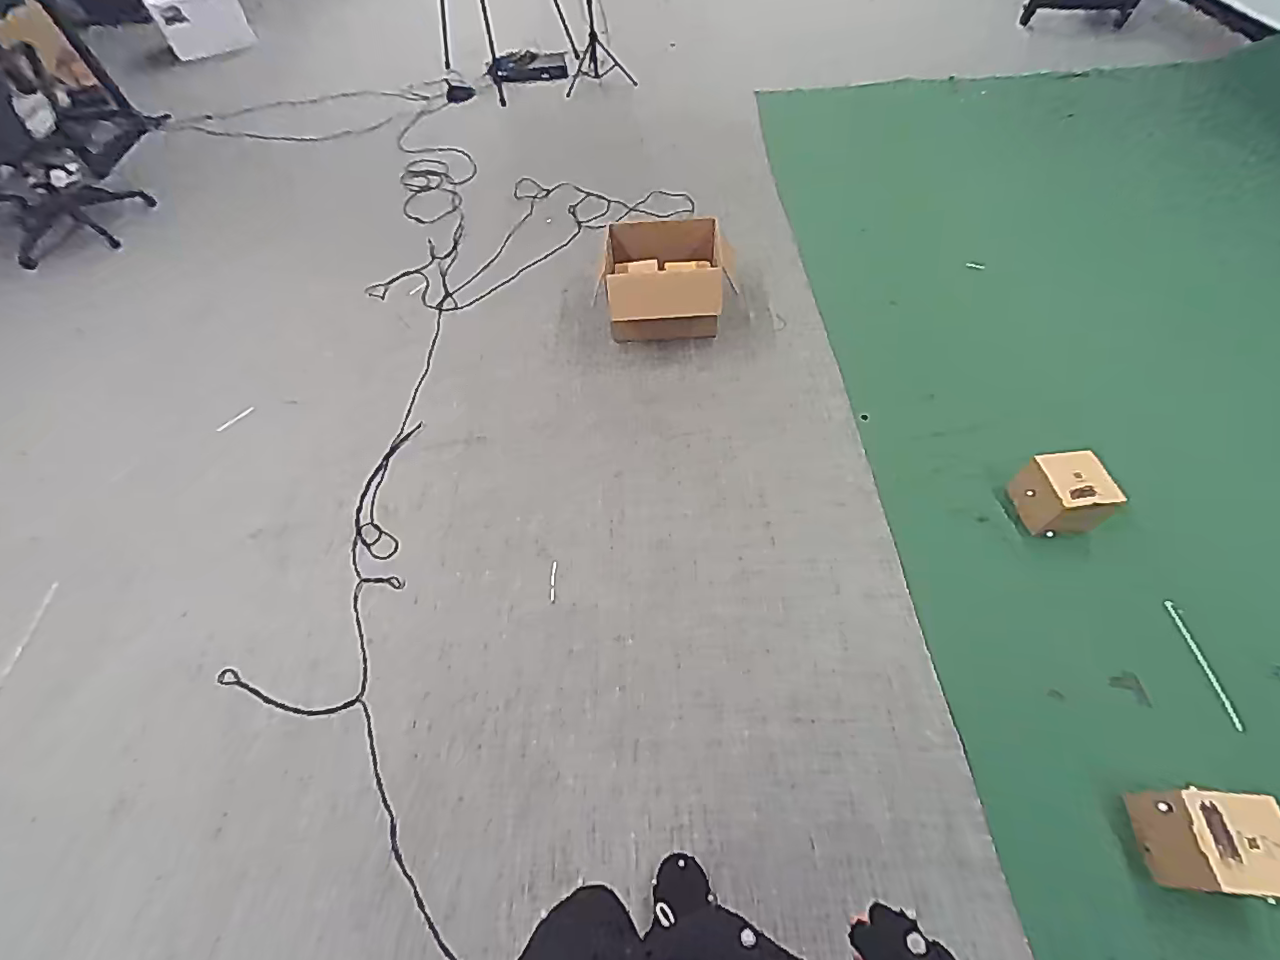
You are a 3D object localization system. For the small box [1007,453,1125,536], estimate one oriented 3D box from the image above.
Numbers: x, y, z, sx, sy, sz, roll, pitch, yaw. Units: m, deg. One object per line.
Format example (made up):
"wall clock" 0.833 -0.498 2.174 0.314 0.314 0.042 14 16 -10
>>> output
"small box" 1.194 0.048 1.531 0.168 0.176 0.179 -5 55 0
